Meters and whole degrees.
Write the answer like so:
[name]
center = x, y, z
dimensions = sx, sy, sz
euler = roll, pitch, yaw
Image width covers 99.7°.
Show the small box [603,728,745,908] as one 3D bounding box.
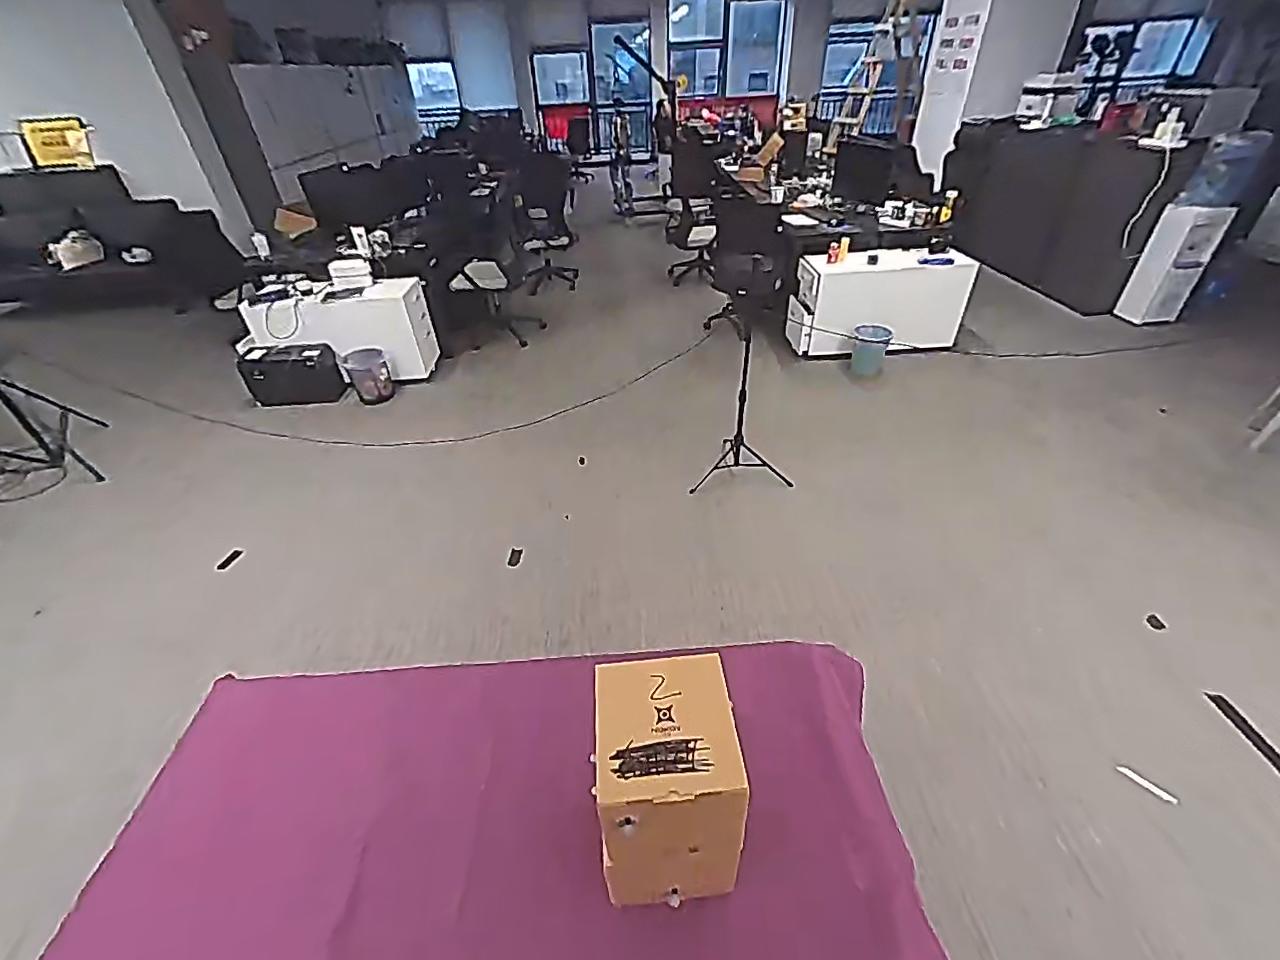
[small box]
center = 0.040, 0.482, 0.774
dimensions = 0.179, 0.176, 0.168
euler = -5, 37, -3
